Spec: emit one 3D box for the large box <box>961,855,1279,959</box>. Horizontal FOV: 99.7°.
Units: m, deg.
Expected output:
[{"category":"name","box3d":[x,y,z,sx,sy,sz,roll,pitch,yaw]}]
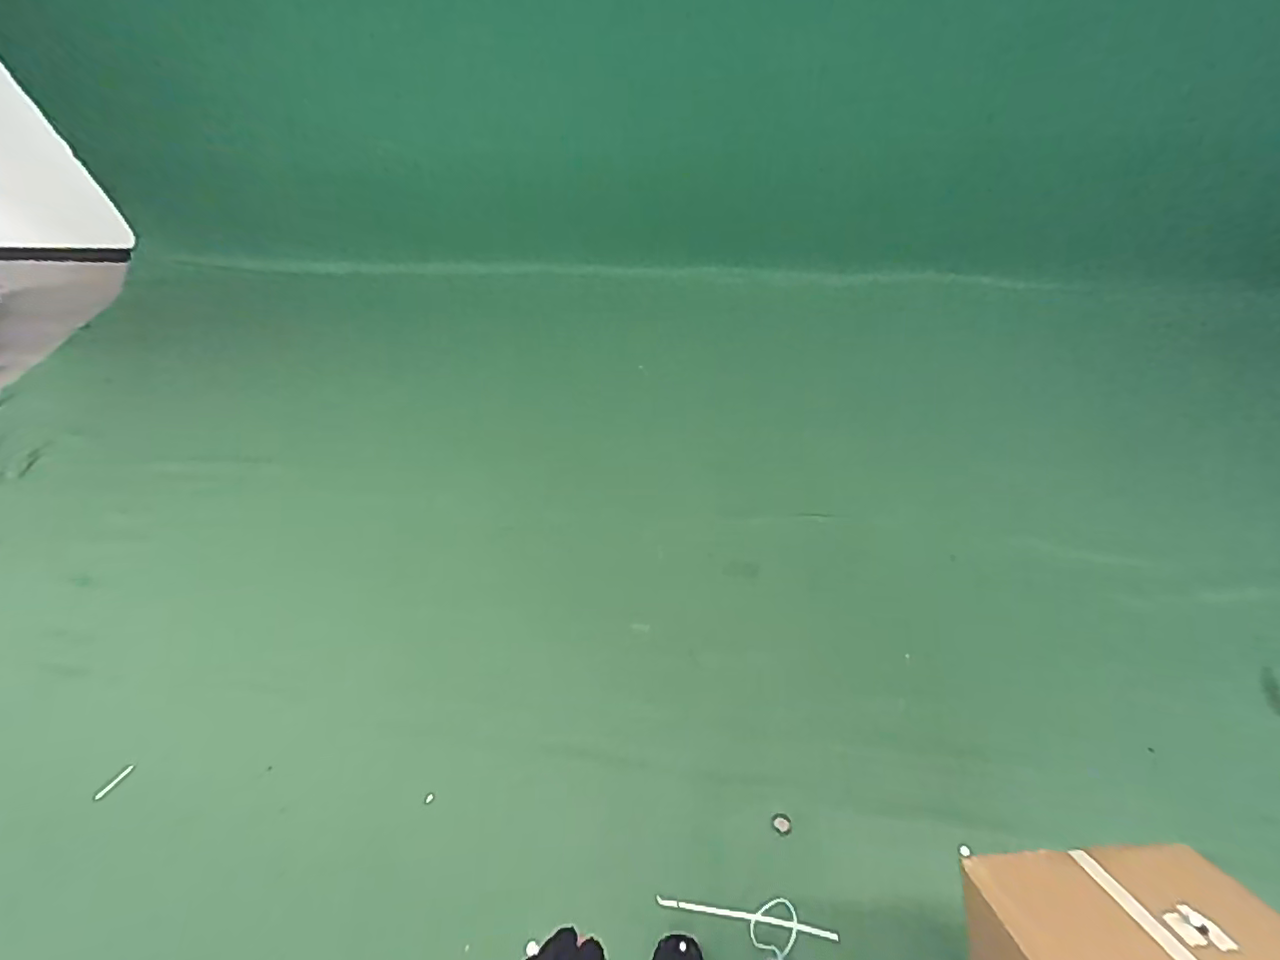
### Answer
[{"category":"large box","box3d":[0.621,0.700,0.577,0.320,0.408,0.320,-6,91,4]}]
